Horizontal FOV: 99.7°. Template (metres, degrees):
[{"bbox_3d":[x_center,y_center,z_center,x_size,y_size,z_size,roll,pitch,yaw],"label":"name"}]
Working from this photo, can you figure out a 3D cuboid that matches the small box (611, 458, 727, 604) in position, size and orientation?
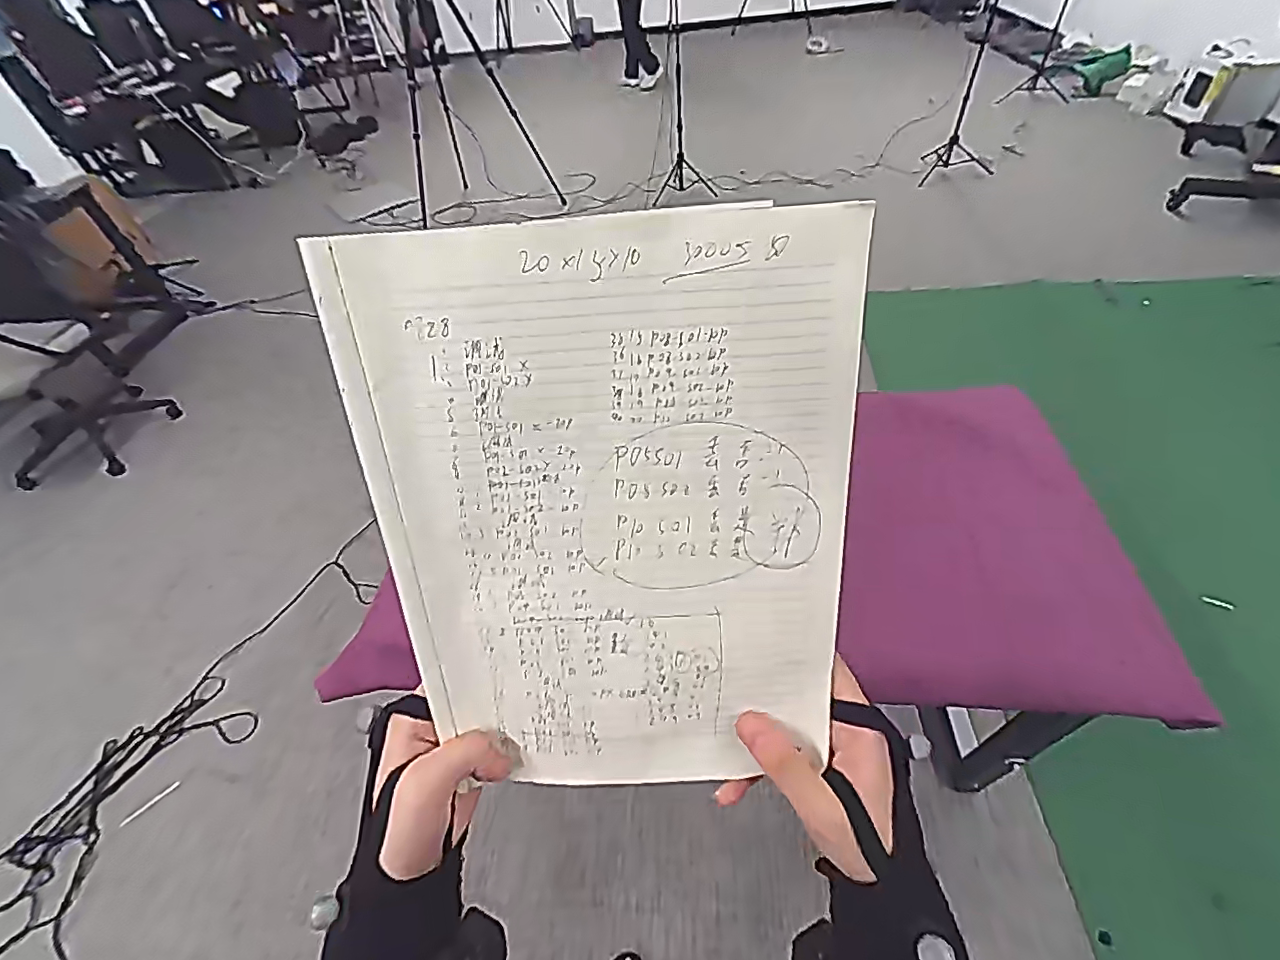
[{"bbox_3d":[0.055,0.084,0.863,0.168,0.176,0.179,1,49,7],"label":"small box"}]
